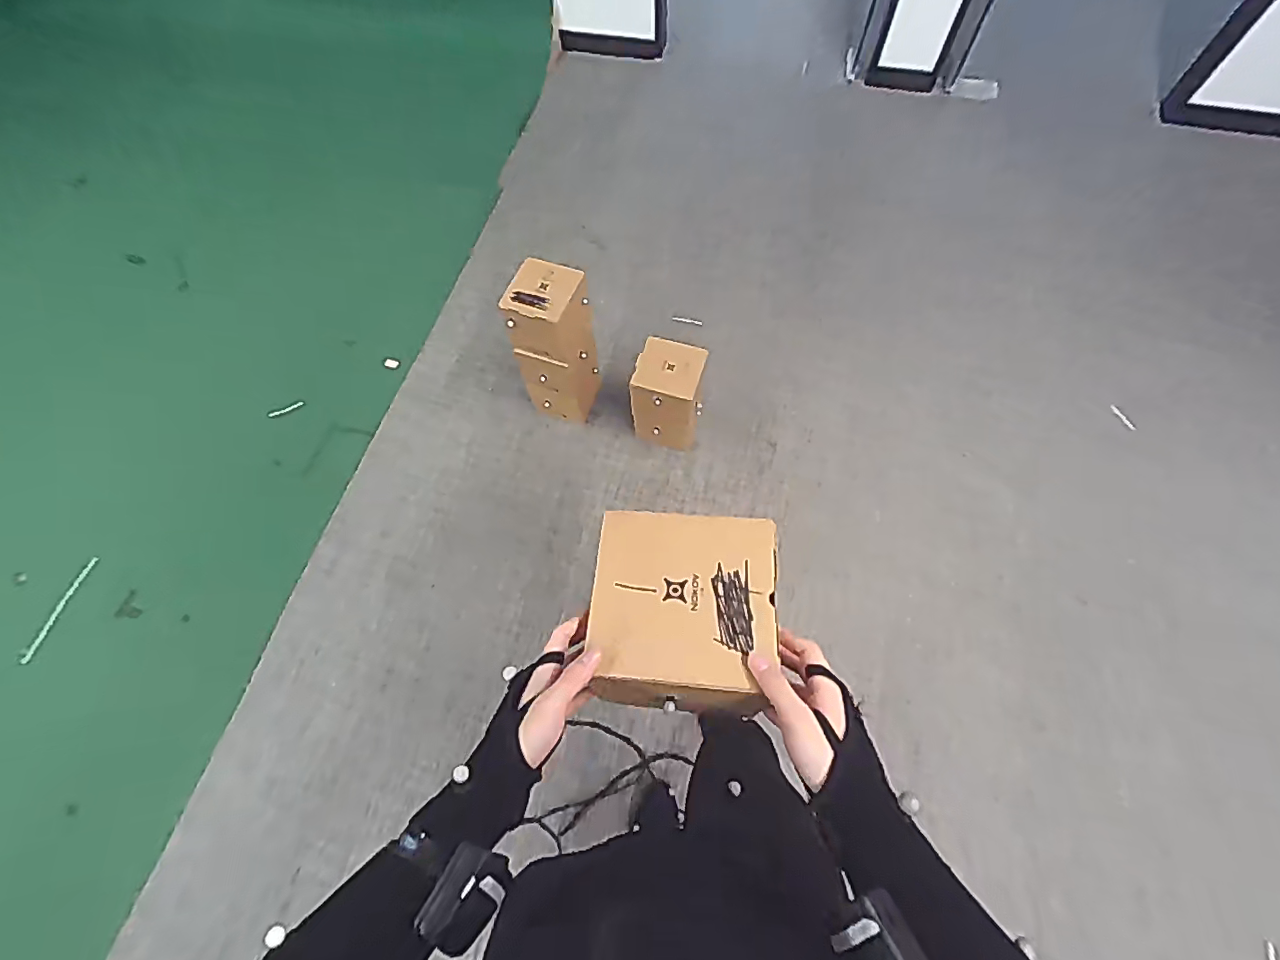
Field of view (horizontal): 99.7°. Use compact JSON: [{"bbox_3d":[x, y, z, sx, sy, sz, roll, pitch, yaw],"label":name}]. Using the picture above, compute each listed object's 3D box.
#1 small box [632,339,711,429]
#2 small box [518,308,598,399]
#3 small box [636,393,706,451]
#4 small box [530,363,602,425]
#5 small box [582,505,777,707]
[{"bbox_3d":[0.088,-0.265,1.523,0.179,0.176,0.168,17,69,9],"label":"small box"},{"bbox_3d":[-0.230,-0.364,1.582,0.168,0.176,0.179,19,68,10],"label":"small box"},{"bbox_3d":[0.098,-0.209,1.677,0.179,0.176,0.168,15,68,10],"label":"small box"},{"bbox_3d":[-0.228,-0.300,1.734,0.168,0.176,0.179,17,68,10],"label":"small box"},{"bbox_3d":[0.045,0.142,0.586,0.179,0.176,0.168,3,59,6],"label":"small box"}]
